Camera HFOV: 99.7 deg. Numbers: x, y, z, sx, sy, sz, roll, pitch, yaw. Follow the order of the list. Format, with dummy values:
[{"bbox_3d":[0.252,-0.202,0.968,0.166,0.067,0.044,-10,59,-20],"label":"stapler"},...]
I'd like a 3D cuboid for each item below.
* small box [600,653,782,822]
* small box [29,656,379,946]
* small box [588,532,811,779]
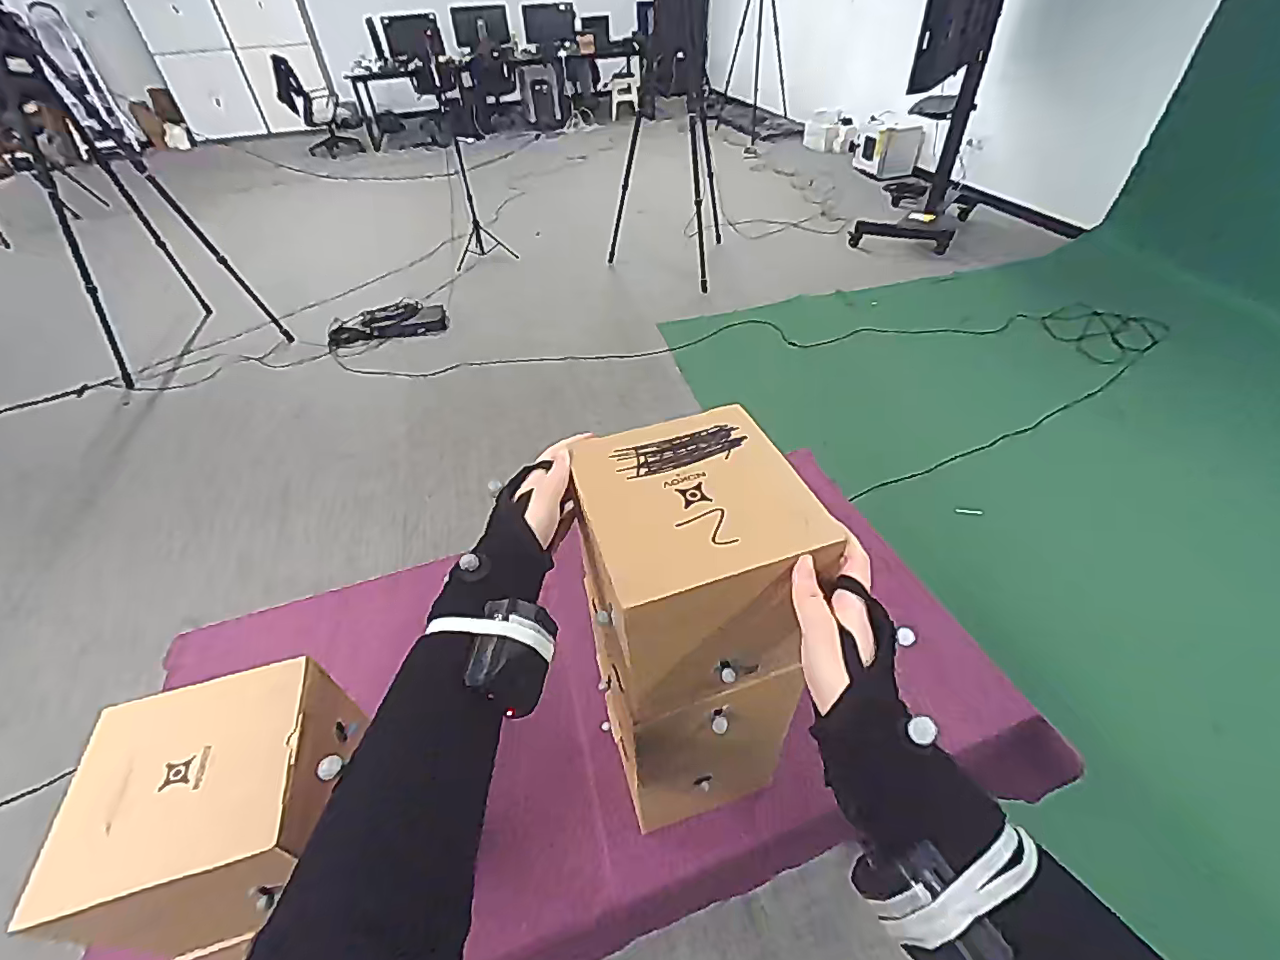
[{"bbox_3d":[0.060,0.307,0.695,0.179,0.176,0.168,-15,45,-11],"label":"small box"},{"bbox_3d":[-0.364,0.297,0.504,0.179,0.176,0.168,-14,44,-9],"label":"small box"},{"bbox_3d":[0.055,0.189,0.583,0.179,0.176,0.168,-16,46,-10],"label":"small box"}]
